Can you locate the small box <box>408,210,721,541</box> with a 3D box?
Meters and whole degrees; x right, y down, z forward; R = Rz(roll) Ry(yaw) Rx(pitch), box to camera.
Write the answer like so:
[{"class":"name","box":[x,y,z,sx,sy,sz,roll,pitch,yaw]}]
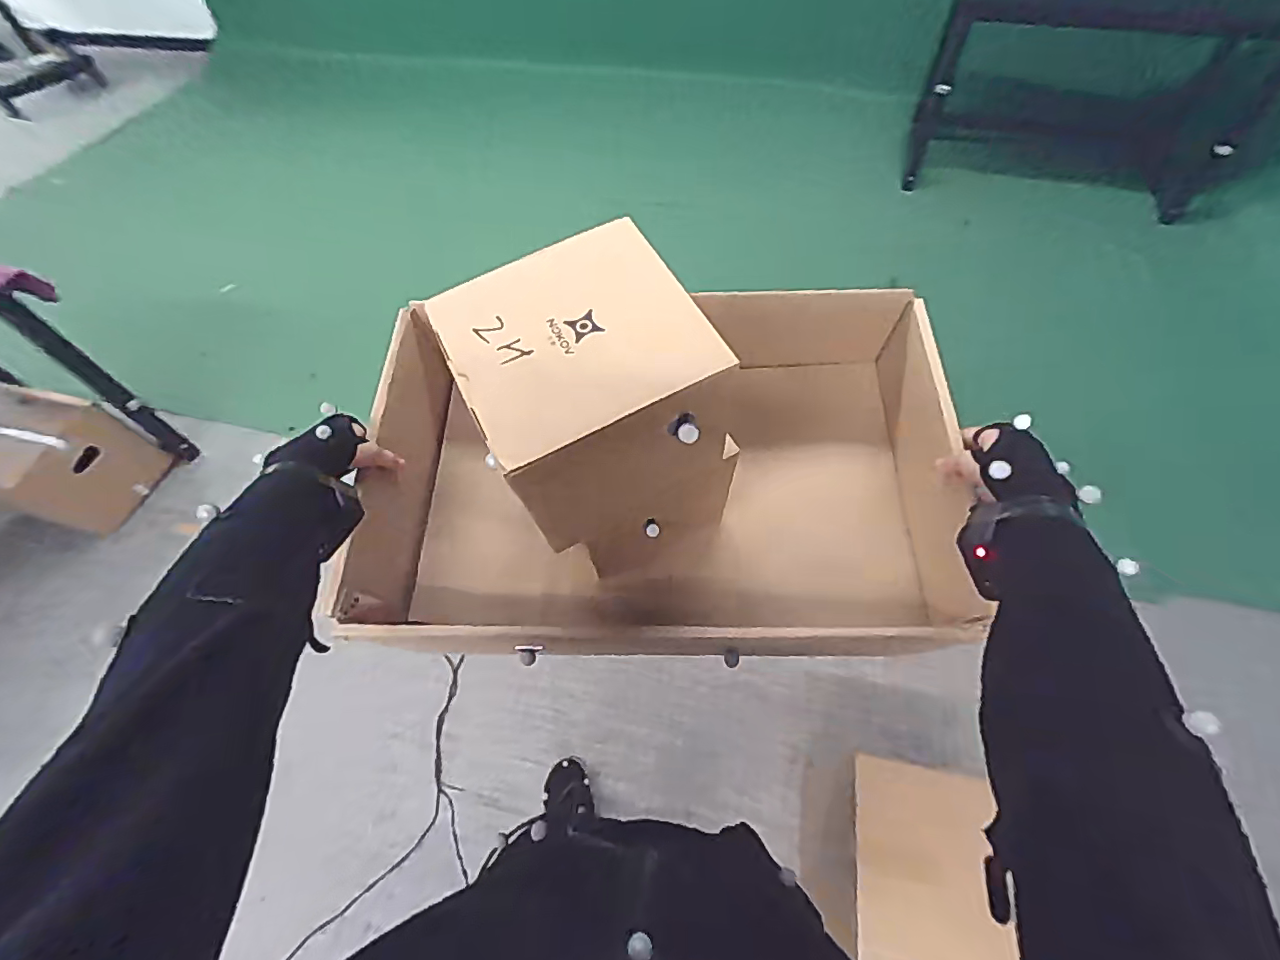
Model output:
[{"class":"small box","box":[-0.054,-0.076,0.450,0.179,0.176,0.168,-28,66,-8]}]
